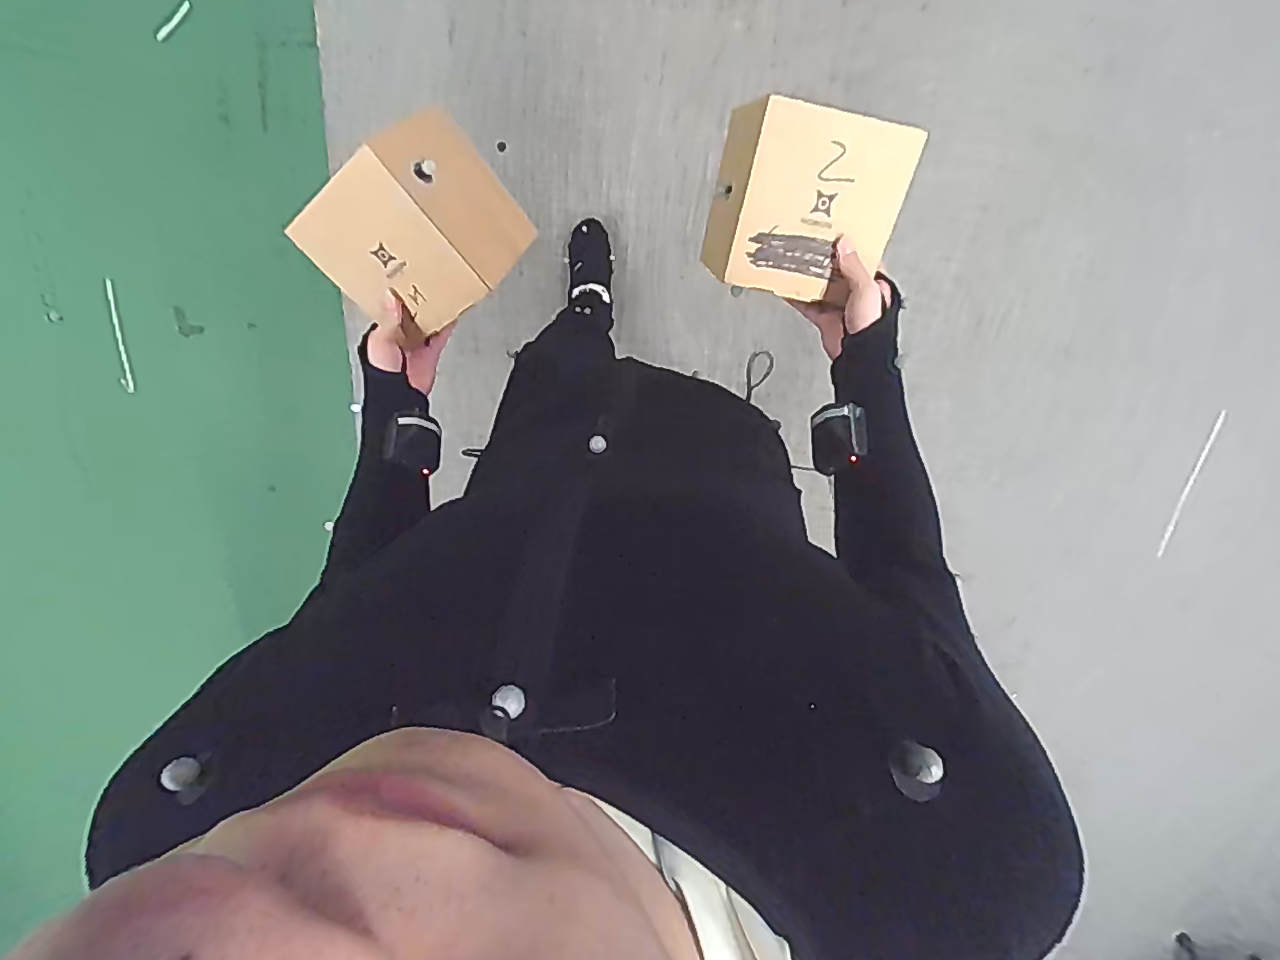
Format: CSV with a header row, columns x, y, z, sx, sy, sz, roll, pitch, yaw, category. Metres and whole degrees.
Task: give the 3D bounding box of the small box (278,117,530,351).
x,y,z,sx,sy,sz,roll,pitch,yaw,category
-0.262,-0.292,0.638,0.168,0.176,0.179,-18,127,30,small box
